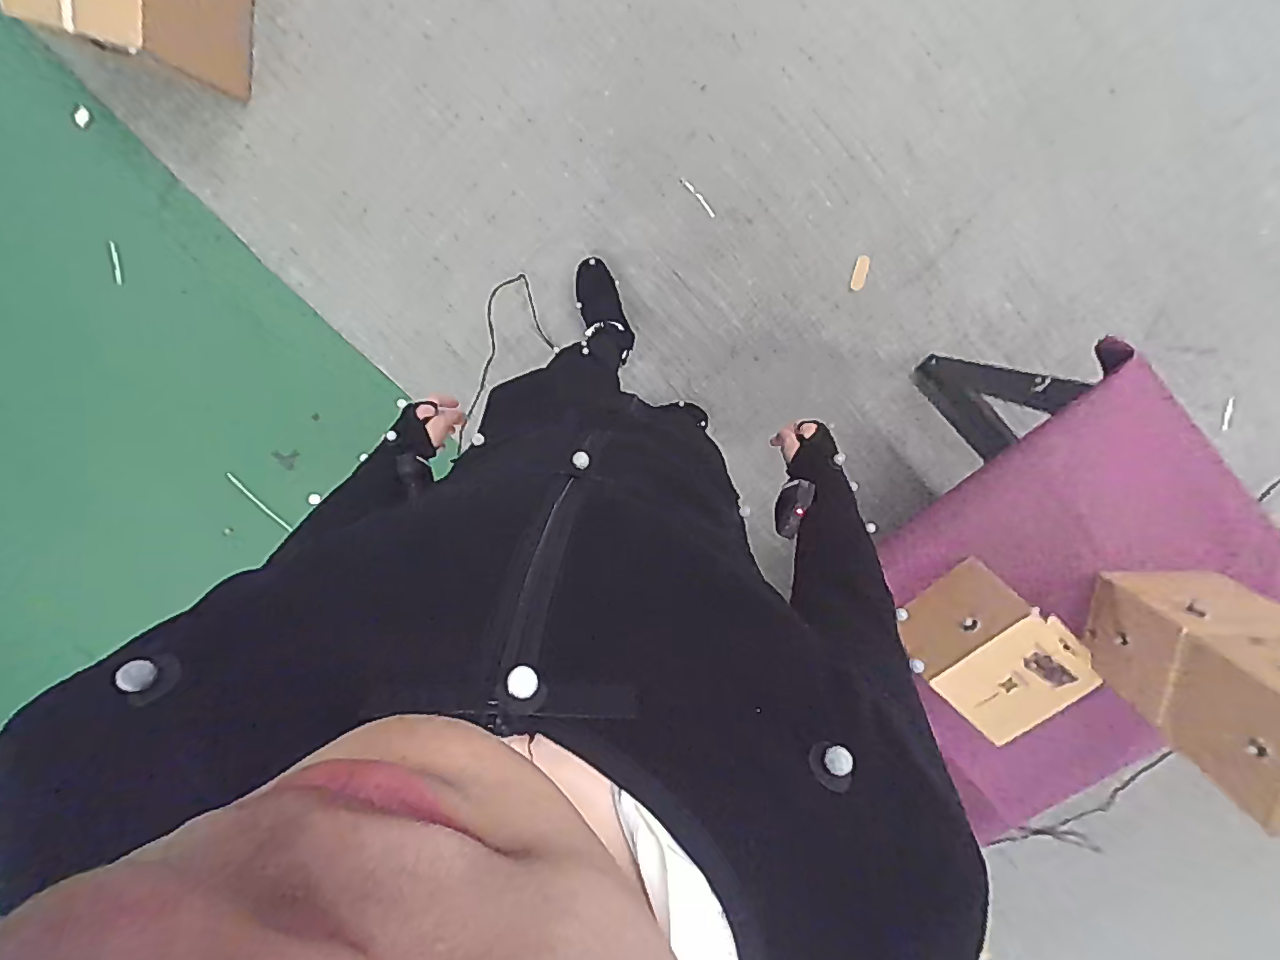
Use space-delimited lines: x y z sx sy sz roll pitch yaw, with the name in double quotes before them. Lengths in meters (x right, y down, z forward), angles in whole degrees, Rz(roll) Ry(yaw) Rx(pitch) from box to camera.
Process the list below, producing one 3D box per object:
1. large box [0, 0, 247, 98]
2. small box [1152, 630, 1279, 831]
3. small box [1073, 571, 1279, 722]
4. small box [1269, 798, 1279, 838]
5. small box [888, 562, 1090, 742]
"large box" -1.145 -1.176 1.217 0.320 0.320 0.408 15 109 0
"small box" 0.811 0.306 0.683 0.168 0.176 0.179 -1 108 6
"small box" 0.824 0.251 0.835 0.179 0.176 0.168 -1 108 5
"small box" 0.803 0.353 0.528 0.179 0.176 0.168 -2 107 6
"small box" 0.535 0.262 0.858 0.168 0.176 0.179 42 106 -10
